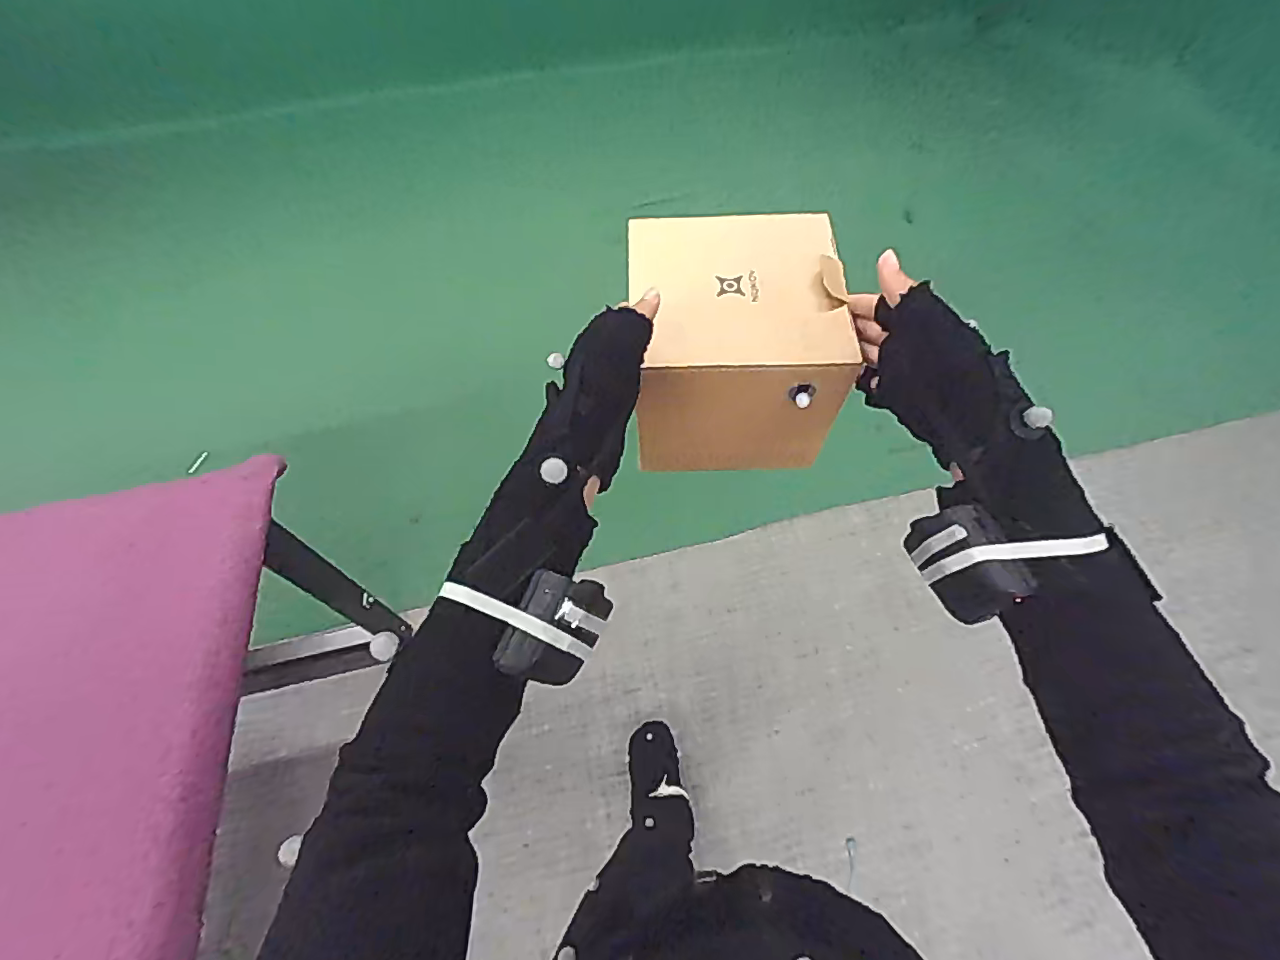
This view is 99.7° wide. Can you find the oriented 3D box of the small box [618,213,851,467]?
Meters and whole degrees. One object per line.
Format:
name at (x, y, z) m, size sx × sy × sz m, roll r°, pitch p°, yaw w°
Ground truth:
small box at (0.074, -0.121, 0.509) m, size 0.179 × 0.176 × 0.168 m, roll -1°, pitch 62°, yaw 1°
